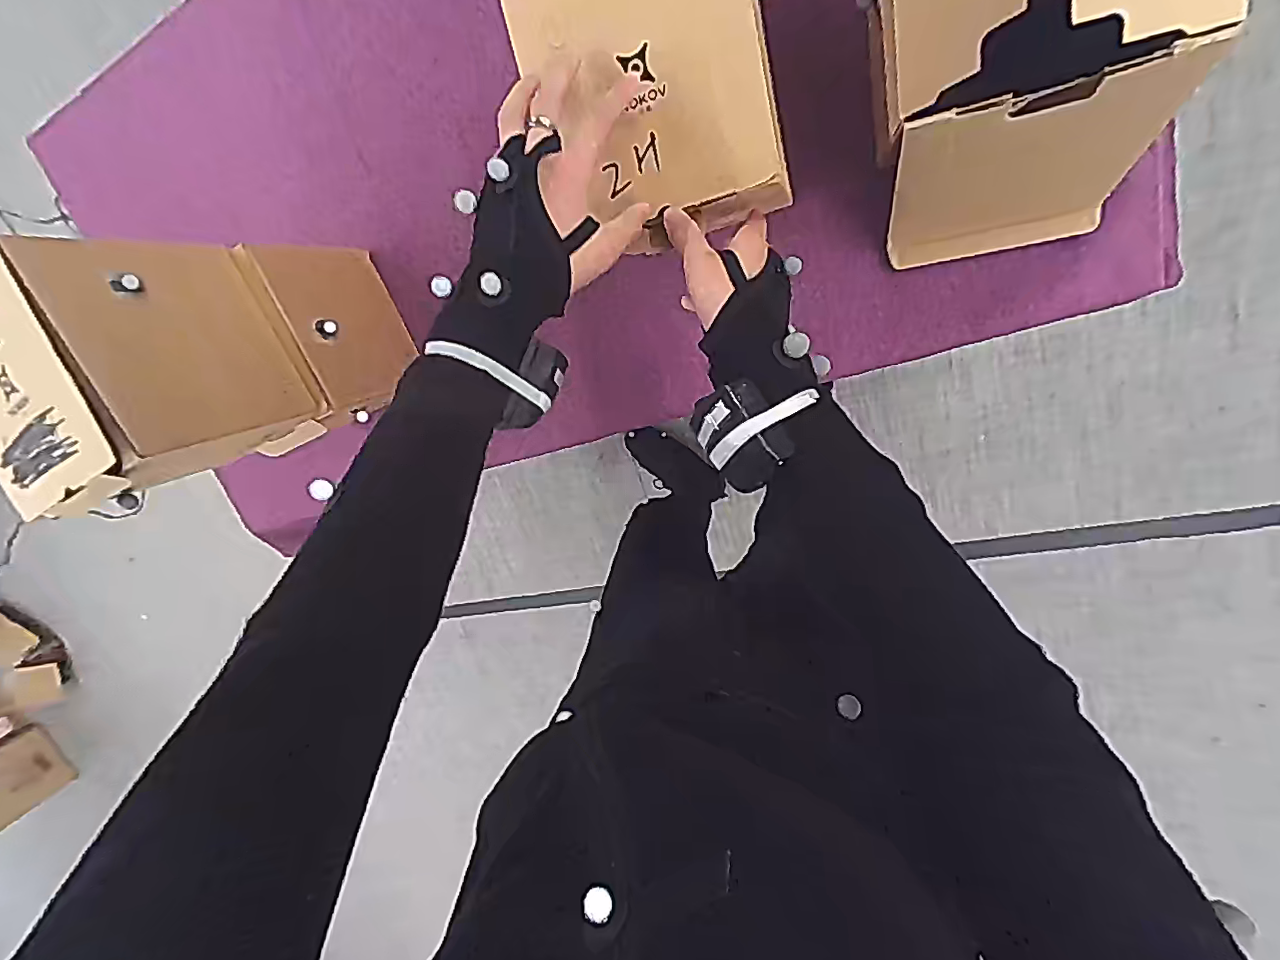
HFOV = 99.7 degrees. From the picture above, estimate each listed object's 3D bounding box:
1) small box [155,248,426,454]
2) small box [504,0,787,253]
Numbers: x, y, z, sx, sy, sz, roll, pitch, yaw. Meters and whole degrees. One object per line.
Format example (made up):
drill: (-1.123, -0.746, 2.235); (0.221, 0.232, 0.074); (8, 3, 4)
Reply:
small box: (-0.392, -0.154, 0.637); (0.168, 0.176, 0.179); (-17, 104, 22)
small box: (0.022, -0.298, 0.443); (0.168, 0.176, 0.179); (-8, 108, 22)
